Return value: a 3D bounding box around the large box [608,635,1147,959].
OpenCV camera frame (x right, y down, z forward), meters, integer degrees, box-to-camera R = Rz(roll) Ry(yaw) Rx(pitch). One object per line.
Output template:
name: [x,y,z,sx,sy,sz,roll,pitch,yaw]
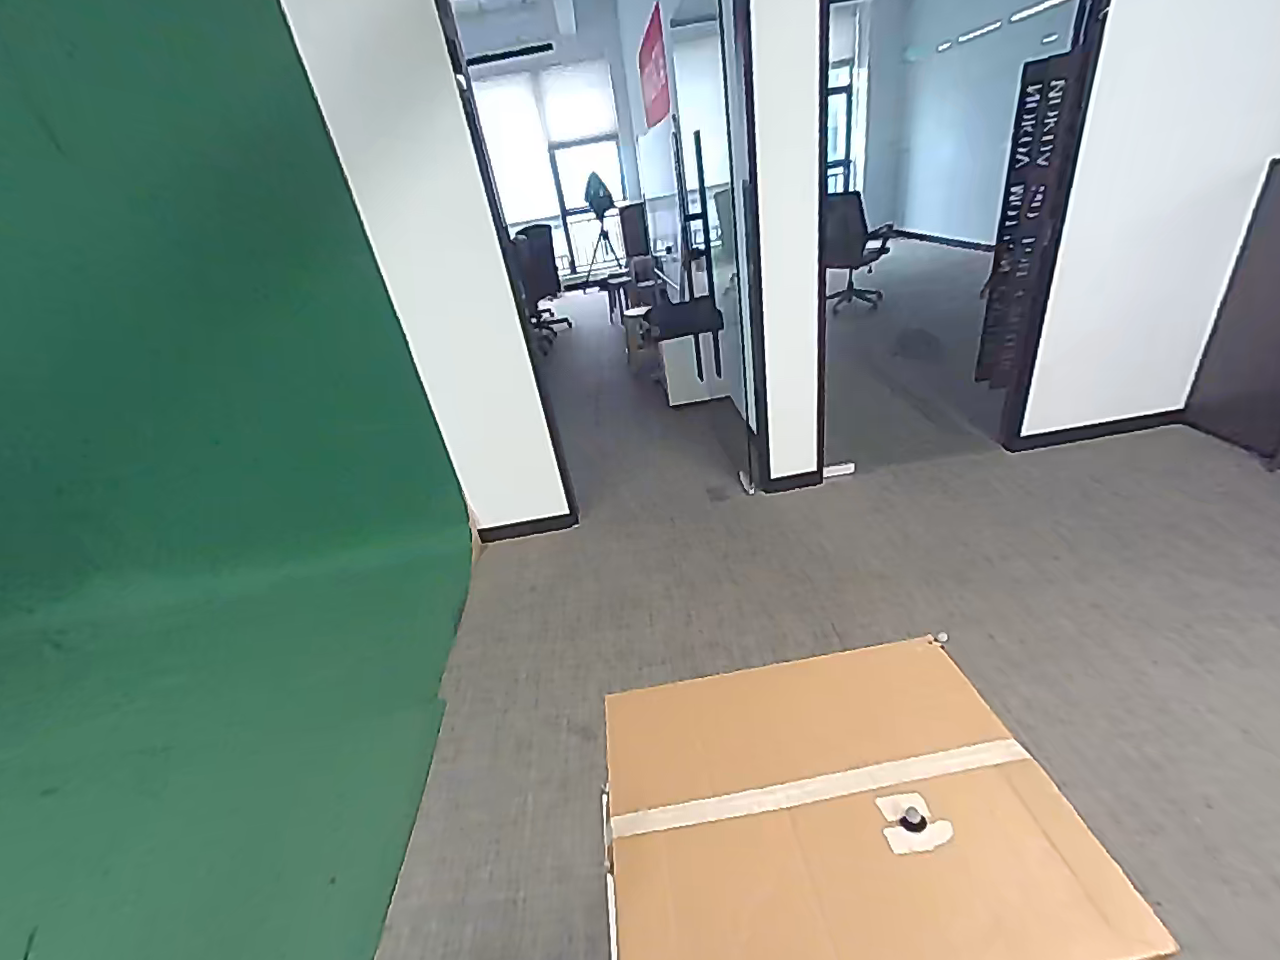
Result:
large box: [0.191,0.424,0.599,0.408,0.320,0.320,-9,30,-2]
